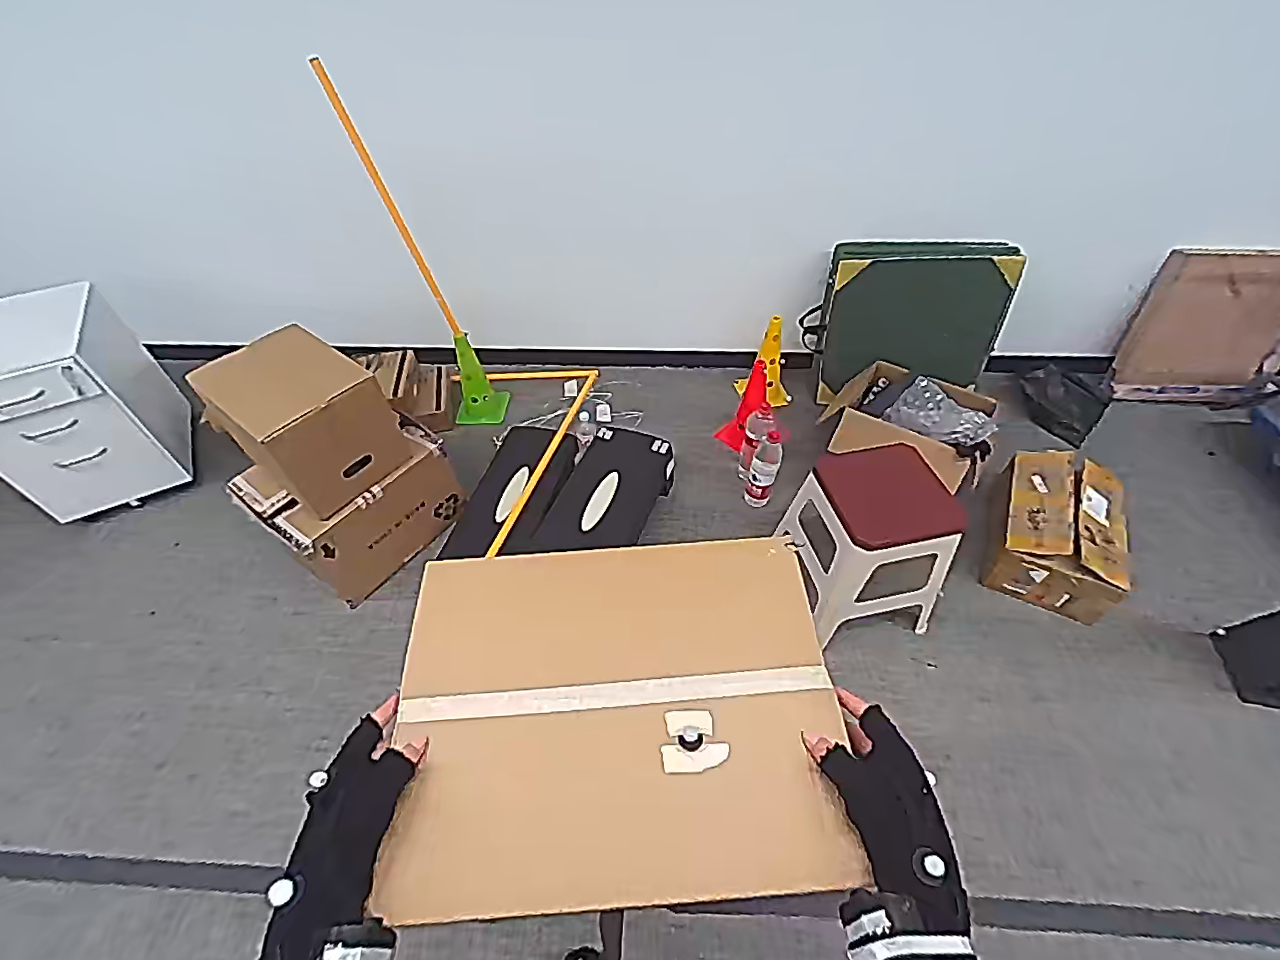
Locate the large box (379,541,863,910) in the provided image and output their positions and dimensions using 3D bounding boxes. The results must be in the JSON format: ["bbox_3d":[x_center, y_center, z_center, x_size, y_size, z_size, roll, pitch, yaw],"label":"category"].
[{"bbox_3d":[-0.021,0.295,0.642,0.408,0.320,0.320,-3,54,-1],"label":"large box"}]
